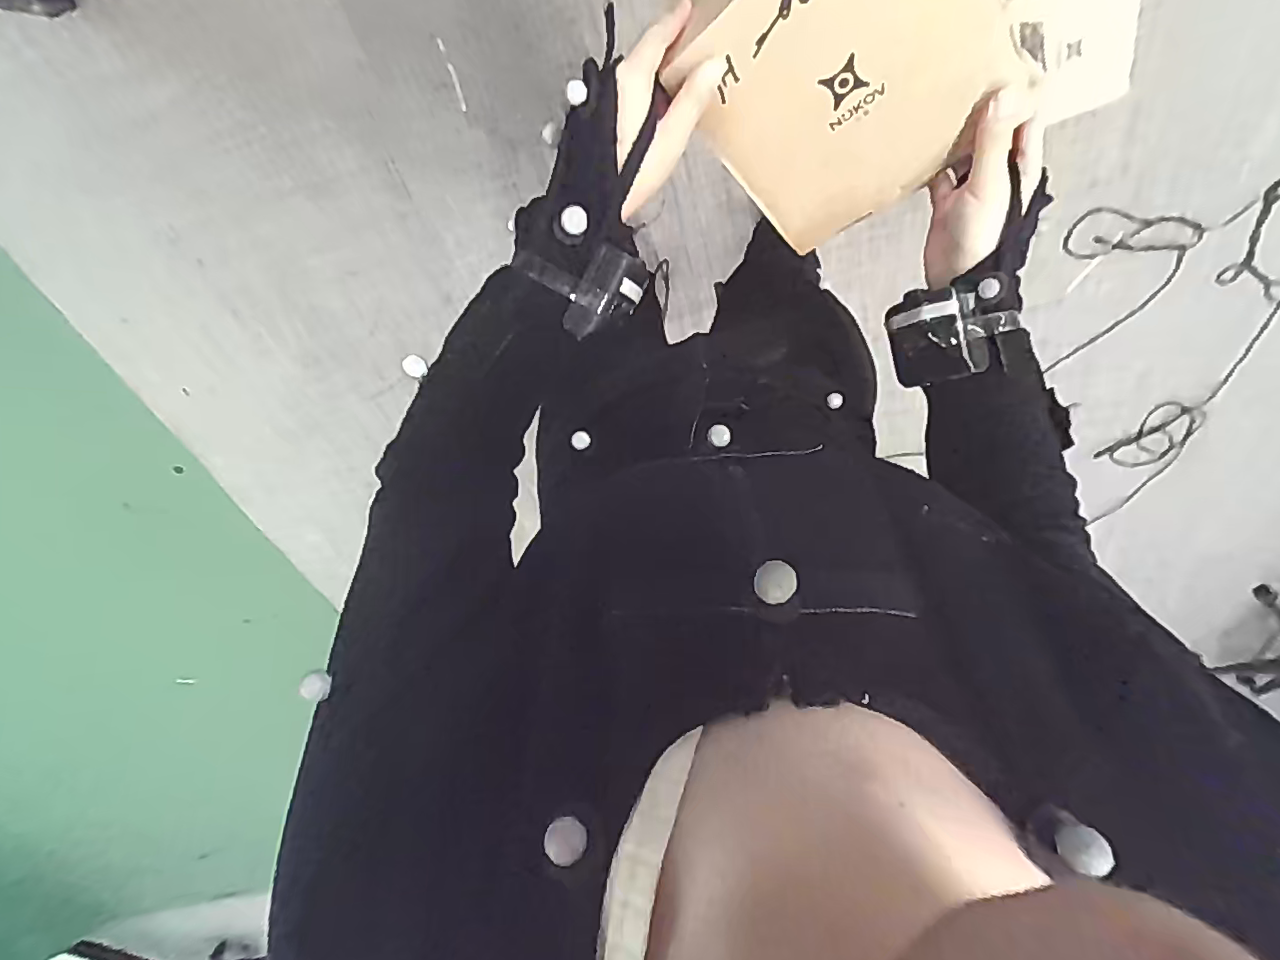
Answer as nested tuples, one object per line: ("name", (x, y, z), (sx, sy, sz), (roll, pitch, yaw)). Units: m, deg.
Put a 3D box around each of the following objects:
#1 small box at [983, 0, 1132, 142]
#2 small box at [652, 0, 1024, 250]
("small box", (0.562, -0.621, 0.794), (0.179, 0.176, 0.168), (-19, 124, 8))
("small box", (0.128, -0.309, 0.370), (0.168, 0.176, 0.179), (-23, 142, 39))
